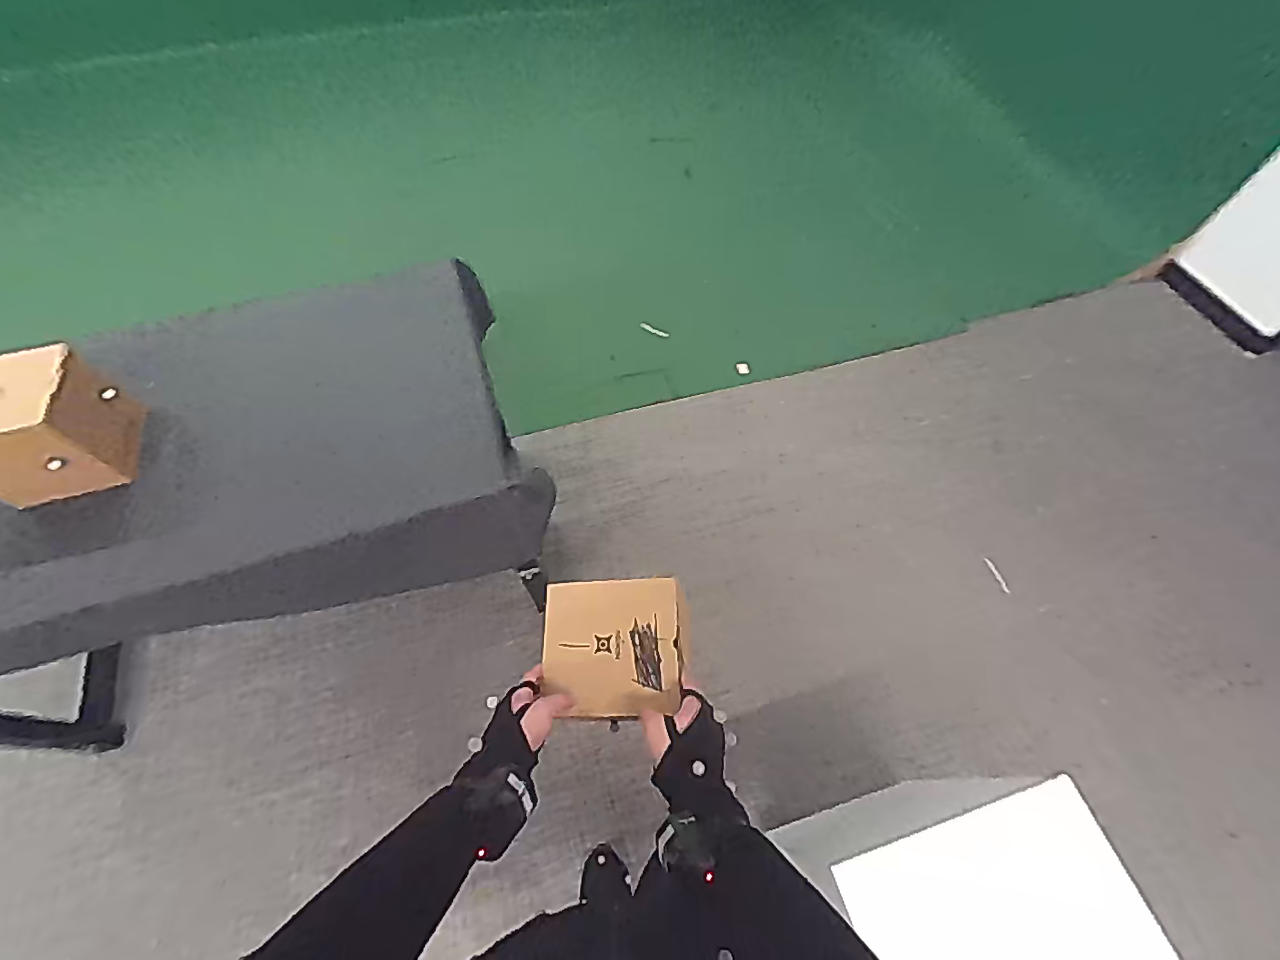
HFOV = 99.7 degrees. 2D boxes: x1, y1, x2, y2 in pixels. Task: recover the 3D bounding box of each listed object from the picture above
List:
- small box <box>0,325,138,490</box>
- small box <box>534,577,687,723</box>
[{"bbox_3d":[-0.938,-0.107,0.835,0.179,0.176,0.168,-14,60,-9],"label":"small box"},{"bbox_3d":[-0.028,0.233,0.728,0.179,0.176,0.168,-4,63,8],"label":"small box"}]
